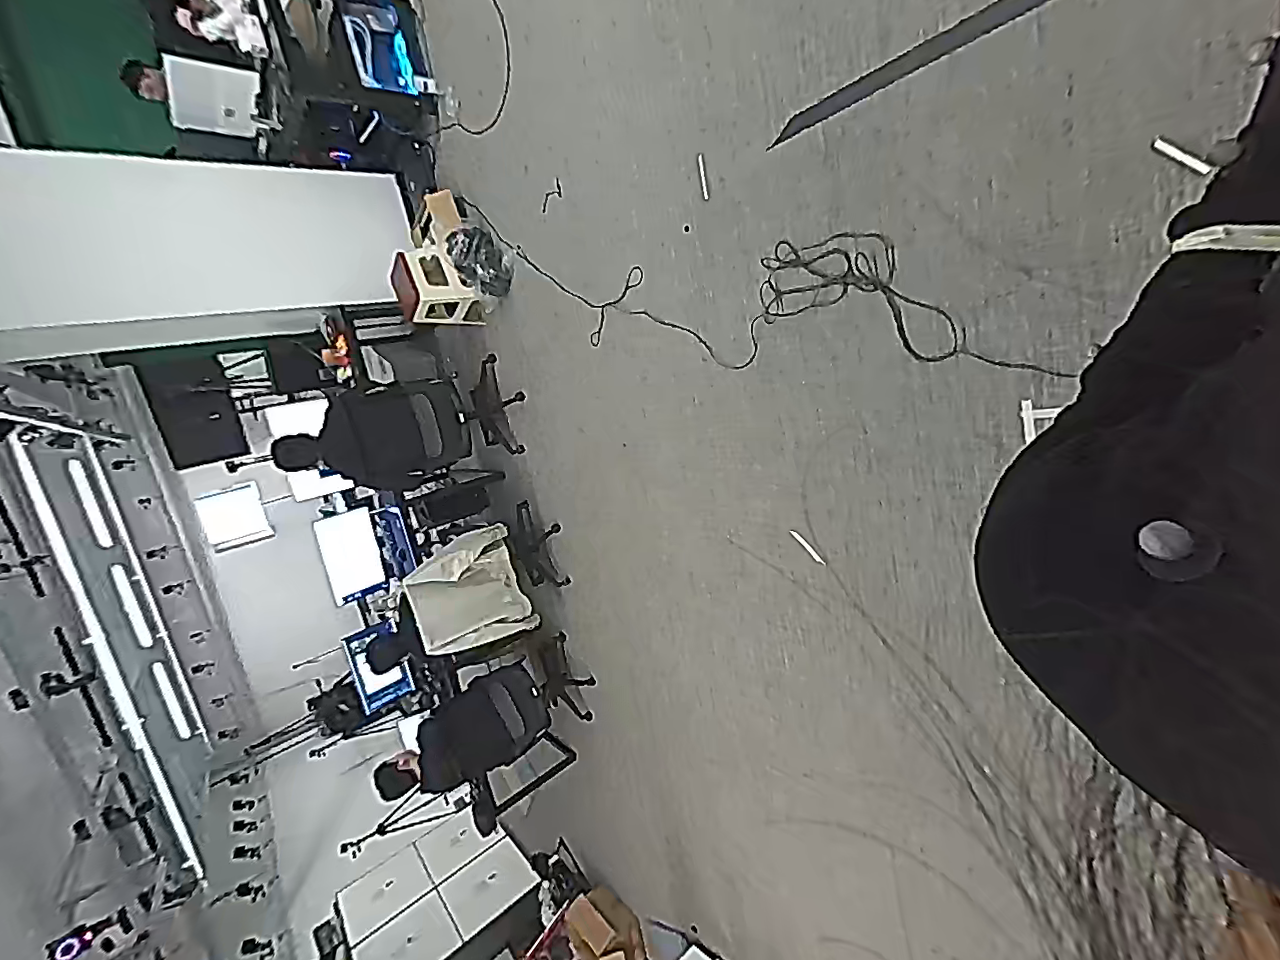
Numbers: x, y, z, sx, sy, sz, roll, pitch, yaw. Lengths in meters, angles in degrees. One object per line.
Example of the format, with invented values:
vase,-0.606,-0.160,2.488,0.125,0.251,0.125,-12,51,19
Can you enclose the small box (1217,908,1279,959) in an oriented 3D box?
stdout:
small box,0.938,0.777,0.767,0.168,0.176,0.179,4,110,50

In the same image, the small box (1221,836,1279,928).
small box,1.059,0.729,0.867,0.168,0.176,0.179,6,110,50
